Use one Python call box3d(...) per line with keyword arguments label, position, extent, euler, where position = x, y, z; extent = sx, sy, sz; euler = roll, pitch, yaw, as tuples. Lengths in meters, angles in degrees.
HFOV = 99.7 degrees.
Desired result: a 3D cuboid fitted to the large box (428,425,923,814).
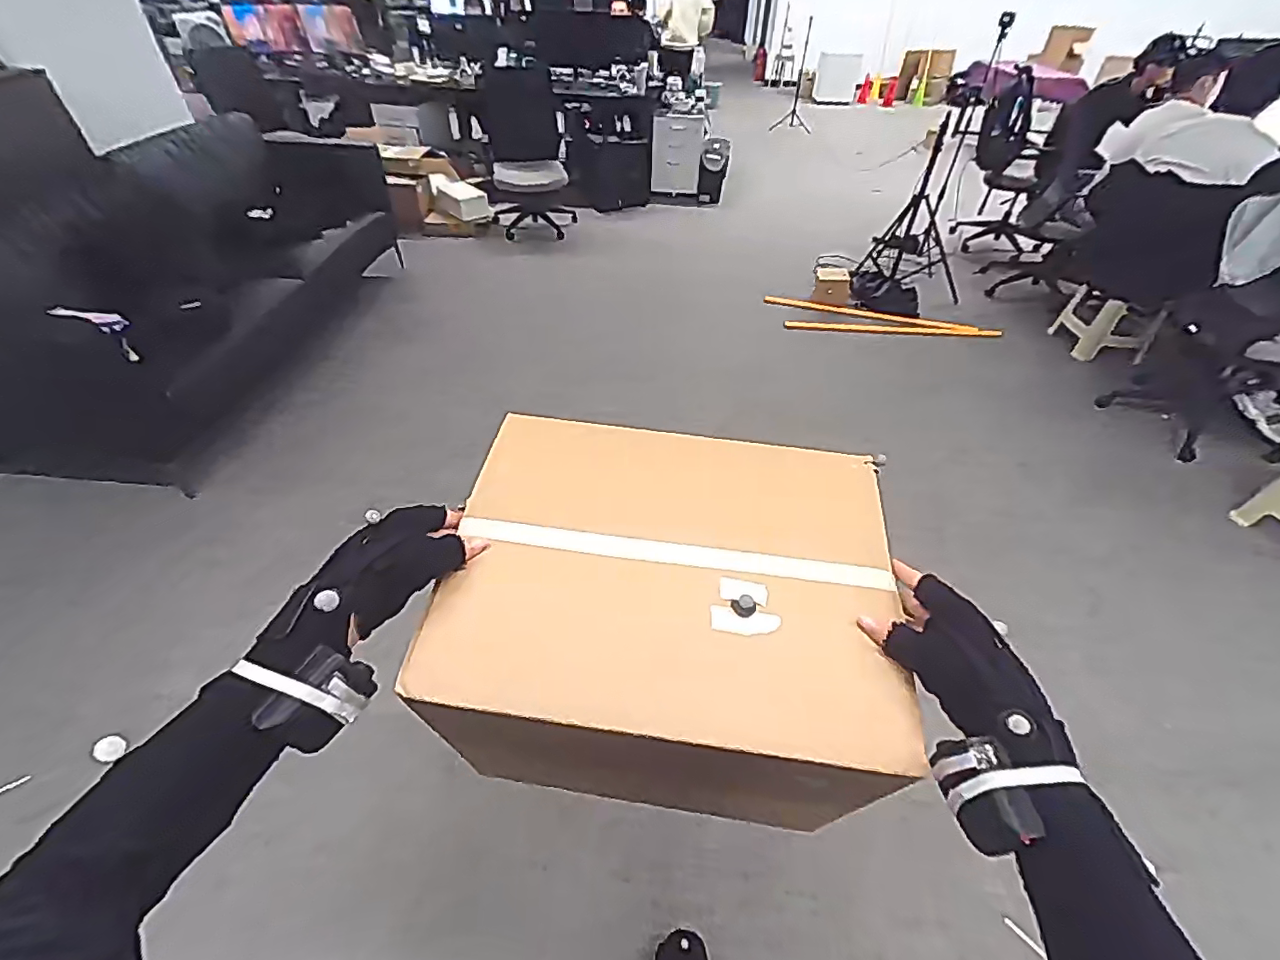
box3d(label="large box", position=(0.034, 0.167, 0.632), extent=(0.408, 0.320, 0.320), euler=(7, 52, 3))
